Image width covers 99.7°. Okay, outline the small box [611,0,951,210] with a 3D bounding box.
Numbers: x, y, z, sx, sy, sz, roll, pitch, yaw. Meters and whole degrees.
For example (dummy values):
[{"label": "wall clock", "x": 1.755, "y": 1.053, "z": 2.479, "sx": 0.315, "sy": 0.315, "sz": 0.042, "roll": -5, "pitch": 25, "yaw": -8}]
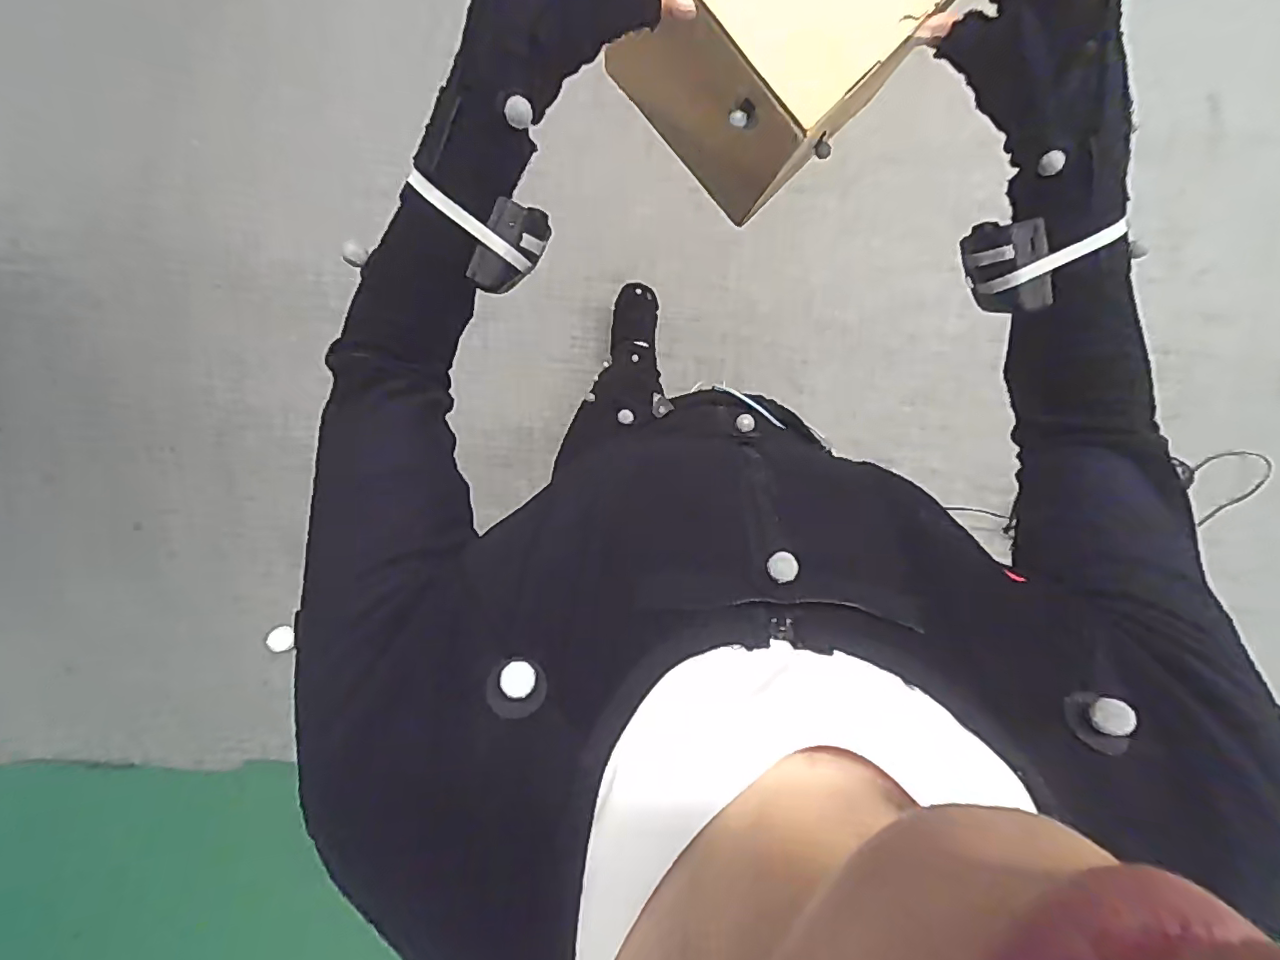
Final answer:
[{"label": "small box", "x": 0.091, "y": -0.338, "z": 0.391, "sx": 0.168, "sy": 0.176, "sz": 0.179, "roll": -43, "pitch": 99, "yaw": 3}]
